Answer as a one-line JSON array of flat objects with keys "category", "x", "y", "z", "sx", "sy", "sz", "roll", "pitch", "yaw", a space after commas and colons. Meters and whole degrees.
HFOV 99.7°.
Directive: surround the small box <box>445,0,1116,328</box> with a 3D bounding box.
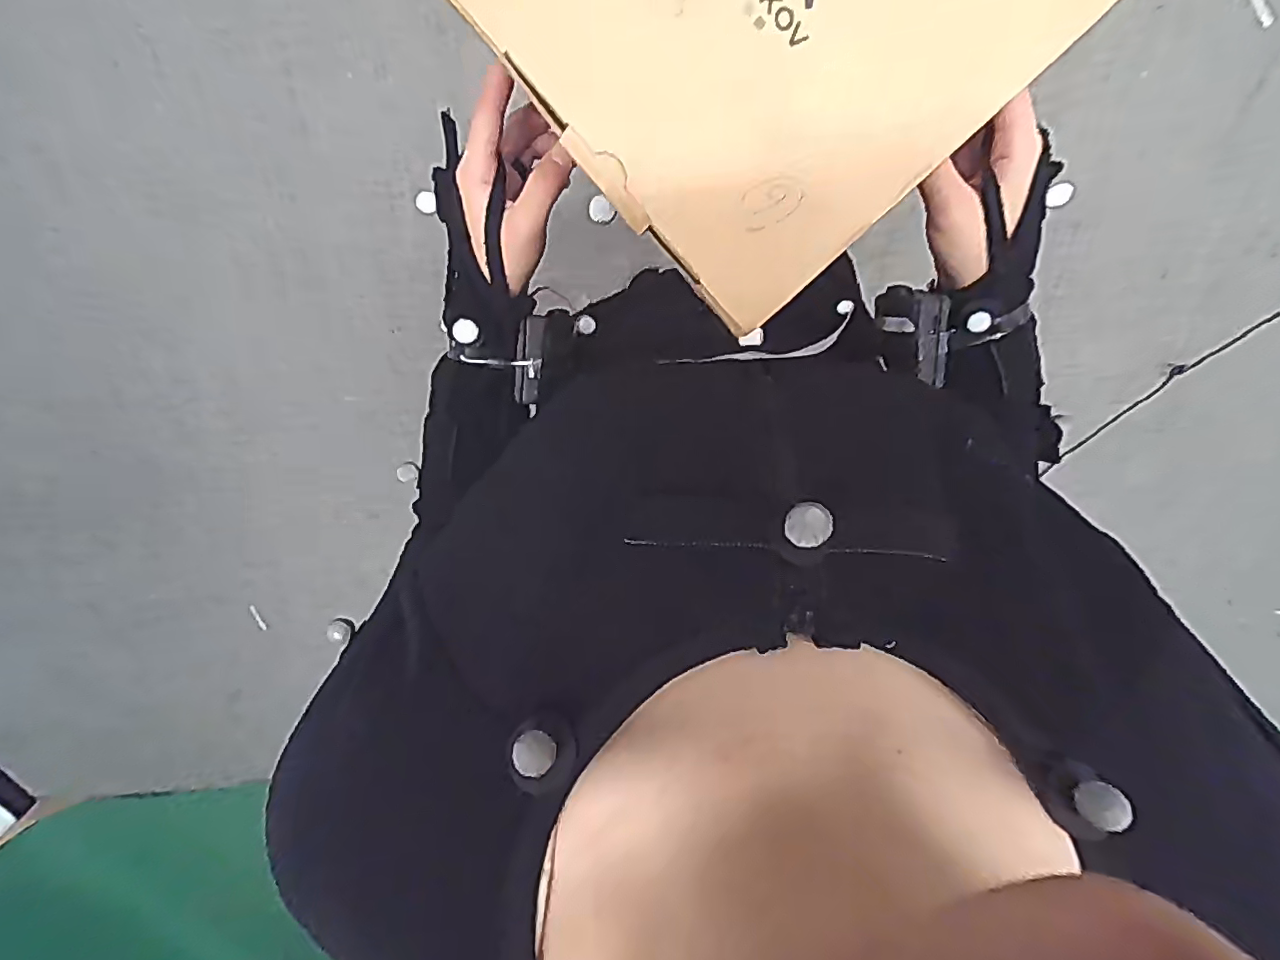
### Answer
[{"category": "small box", "x": 0.050, "y": -0.201, "z": 0.253, "sx": 0.179, "sy": 0.176, "sz": 0.168, "roll": -40, "pitch": 107, "yaw": 17}]
